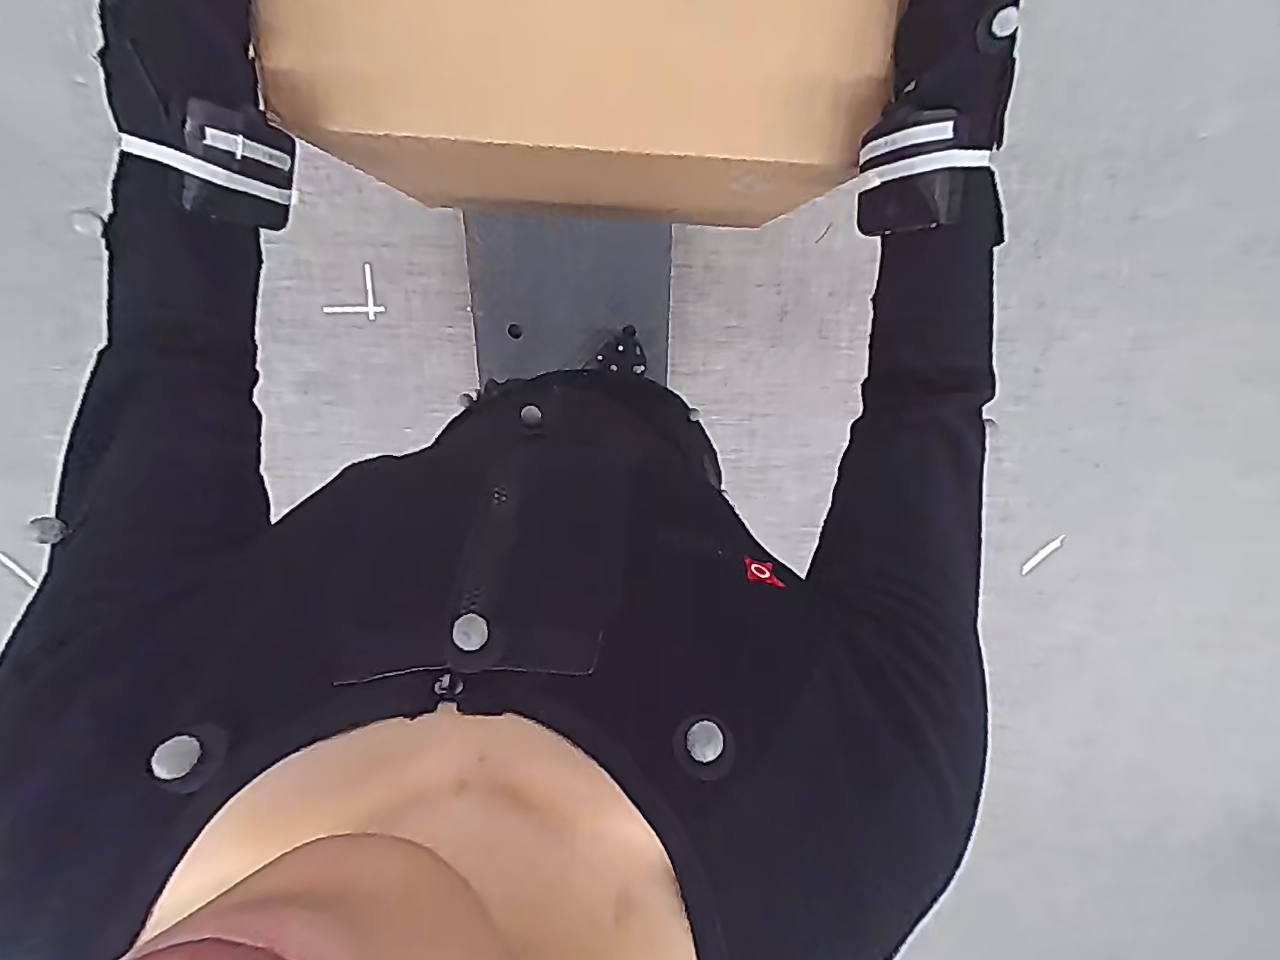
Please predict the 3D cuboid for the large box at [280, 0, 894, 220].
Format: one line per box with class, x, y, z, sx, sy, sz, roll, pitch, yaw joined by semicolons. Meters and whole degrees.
large box;-0.036;-0.423;0.469;0.408;0.320;0.320;1;108;-4
